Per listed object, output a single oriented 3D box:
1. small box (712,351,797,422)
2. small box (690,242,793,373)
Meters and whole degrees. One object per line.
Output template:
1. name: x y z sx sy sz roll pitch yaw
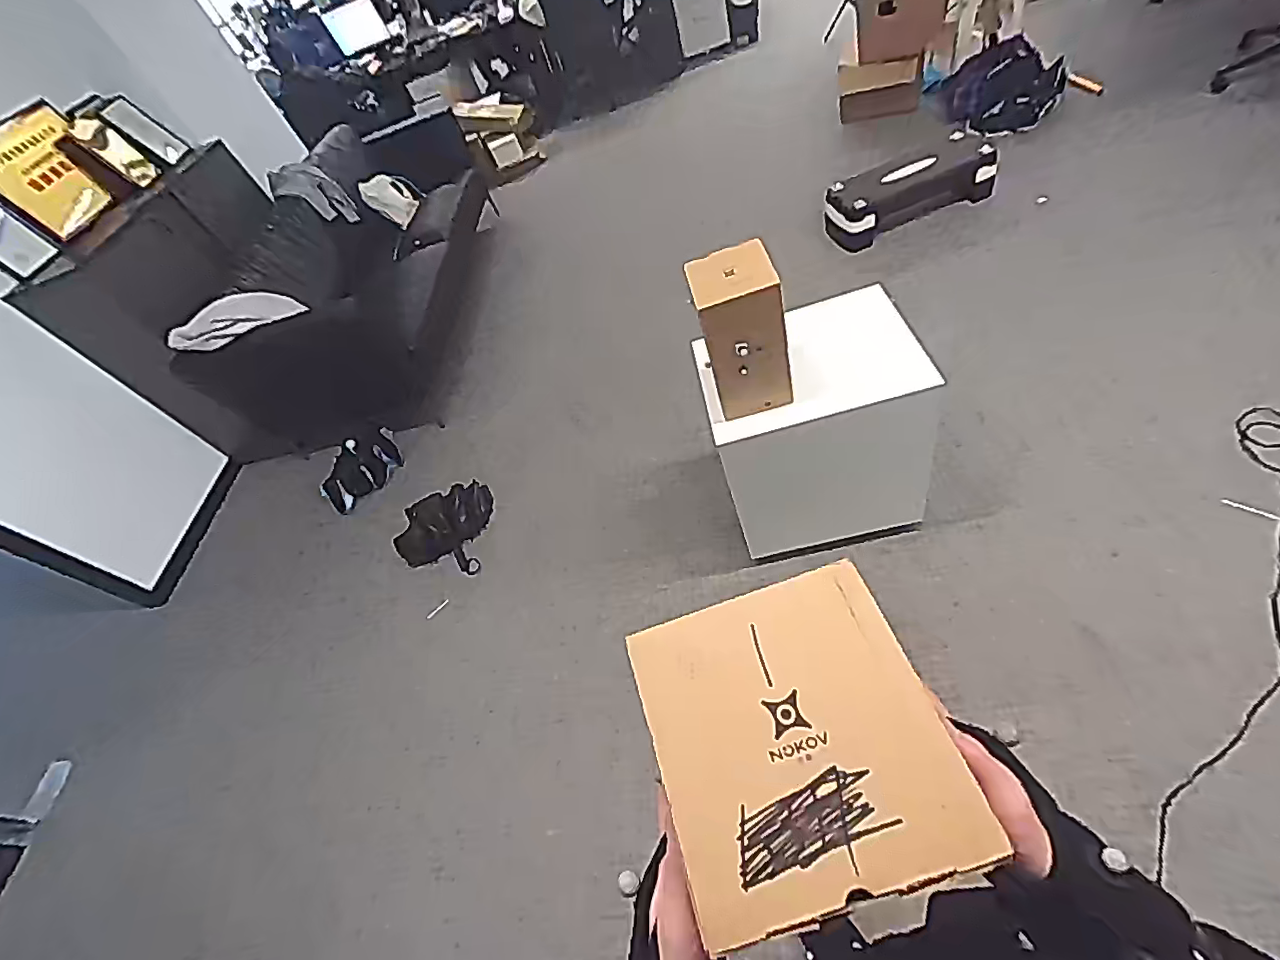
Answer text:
1. small box: 0.262 -0.266 1.263 0.168 0.176 0.179 -15 49 11
2. small box: 0.214 -0.358 1.138 0.168 0.176 0.179 -17 50 11
